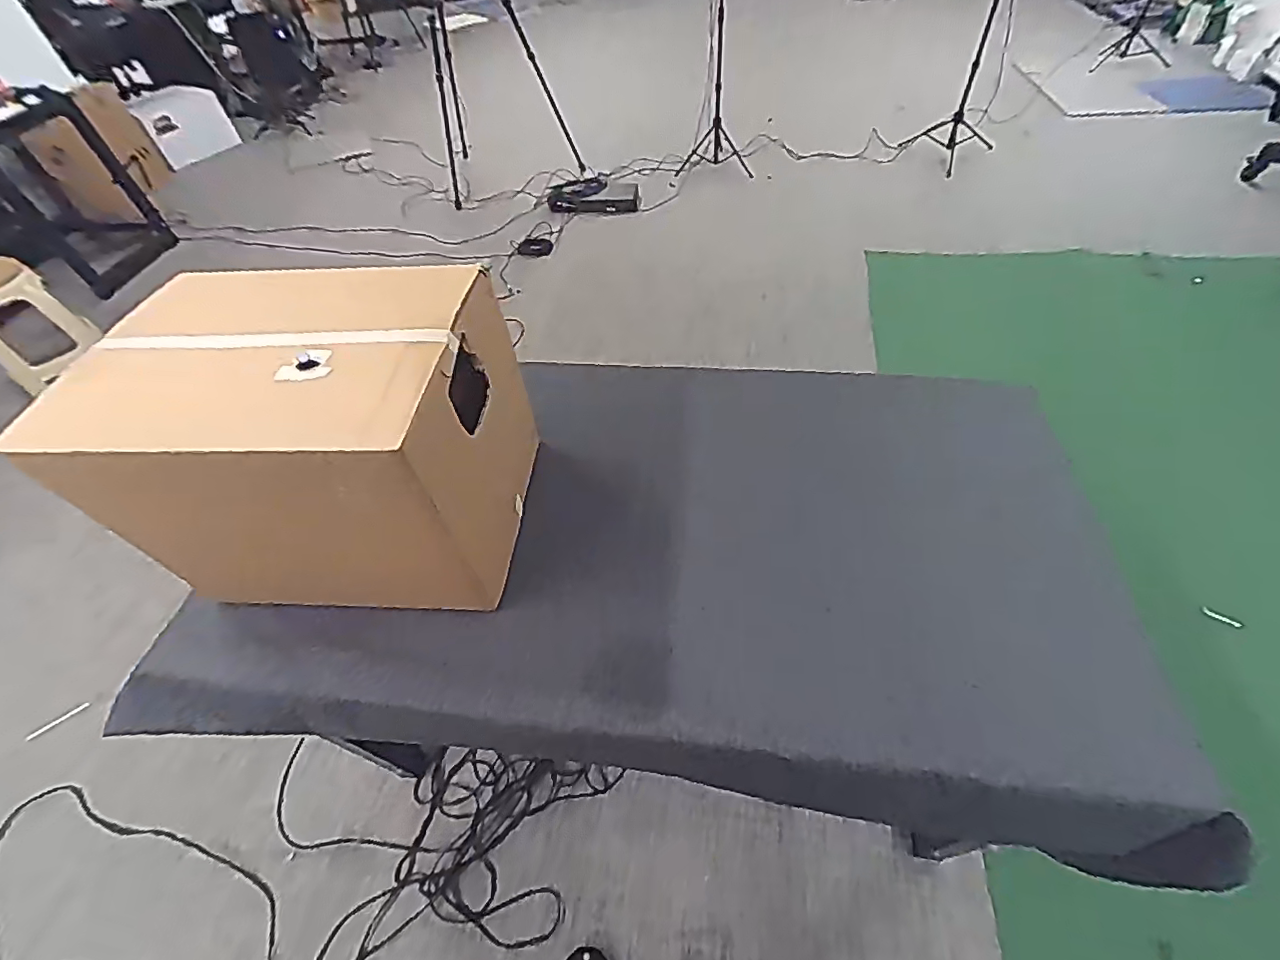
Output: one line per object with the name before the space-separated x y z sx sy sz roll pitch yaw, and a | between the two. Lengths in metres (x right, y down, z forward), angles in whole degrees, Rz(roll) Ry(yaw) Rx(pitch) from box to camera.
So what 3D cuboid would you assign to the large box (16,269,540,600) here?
large box | -0.375 -0.051 0.700 0.408 0.320 0.320 1 51 4
